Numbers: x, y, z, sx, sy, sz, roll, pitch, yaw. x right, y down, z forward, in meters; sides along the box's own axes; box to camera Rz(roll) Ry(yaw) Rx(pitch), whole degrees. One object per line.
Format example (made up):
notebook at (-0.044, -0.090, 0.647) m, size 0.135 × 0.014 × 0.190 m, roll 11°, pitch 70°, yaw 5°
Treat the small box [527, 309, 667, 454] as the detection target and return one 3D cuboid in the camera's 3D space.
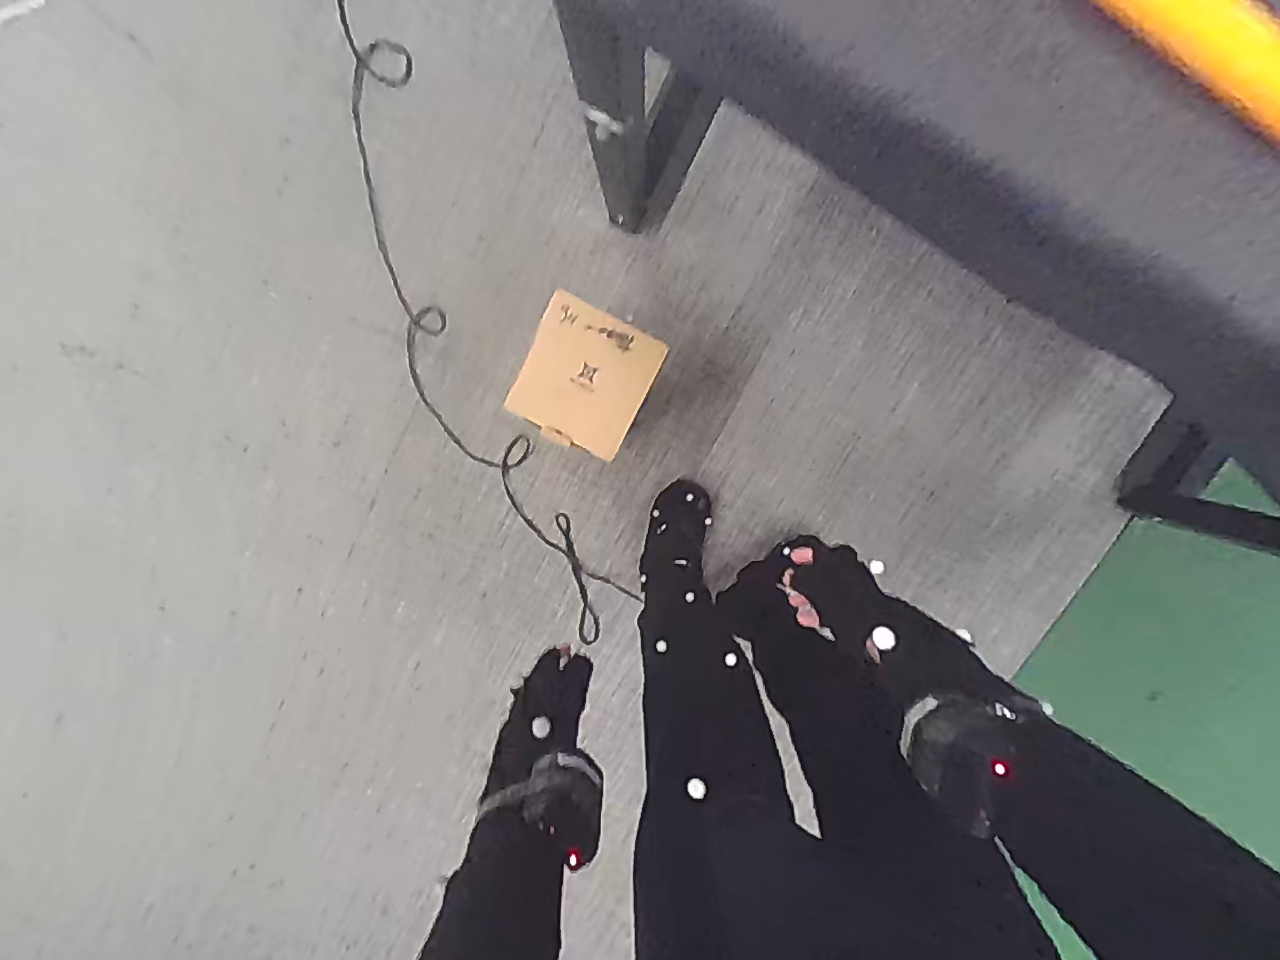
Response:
small box at (-0.071, -0.173, 0.950) m, size 0.168 × 0.176 × 0.179 m, roll 36°, pitch 100°, yaw -6°
